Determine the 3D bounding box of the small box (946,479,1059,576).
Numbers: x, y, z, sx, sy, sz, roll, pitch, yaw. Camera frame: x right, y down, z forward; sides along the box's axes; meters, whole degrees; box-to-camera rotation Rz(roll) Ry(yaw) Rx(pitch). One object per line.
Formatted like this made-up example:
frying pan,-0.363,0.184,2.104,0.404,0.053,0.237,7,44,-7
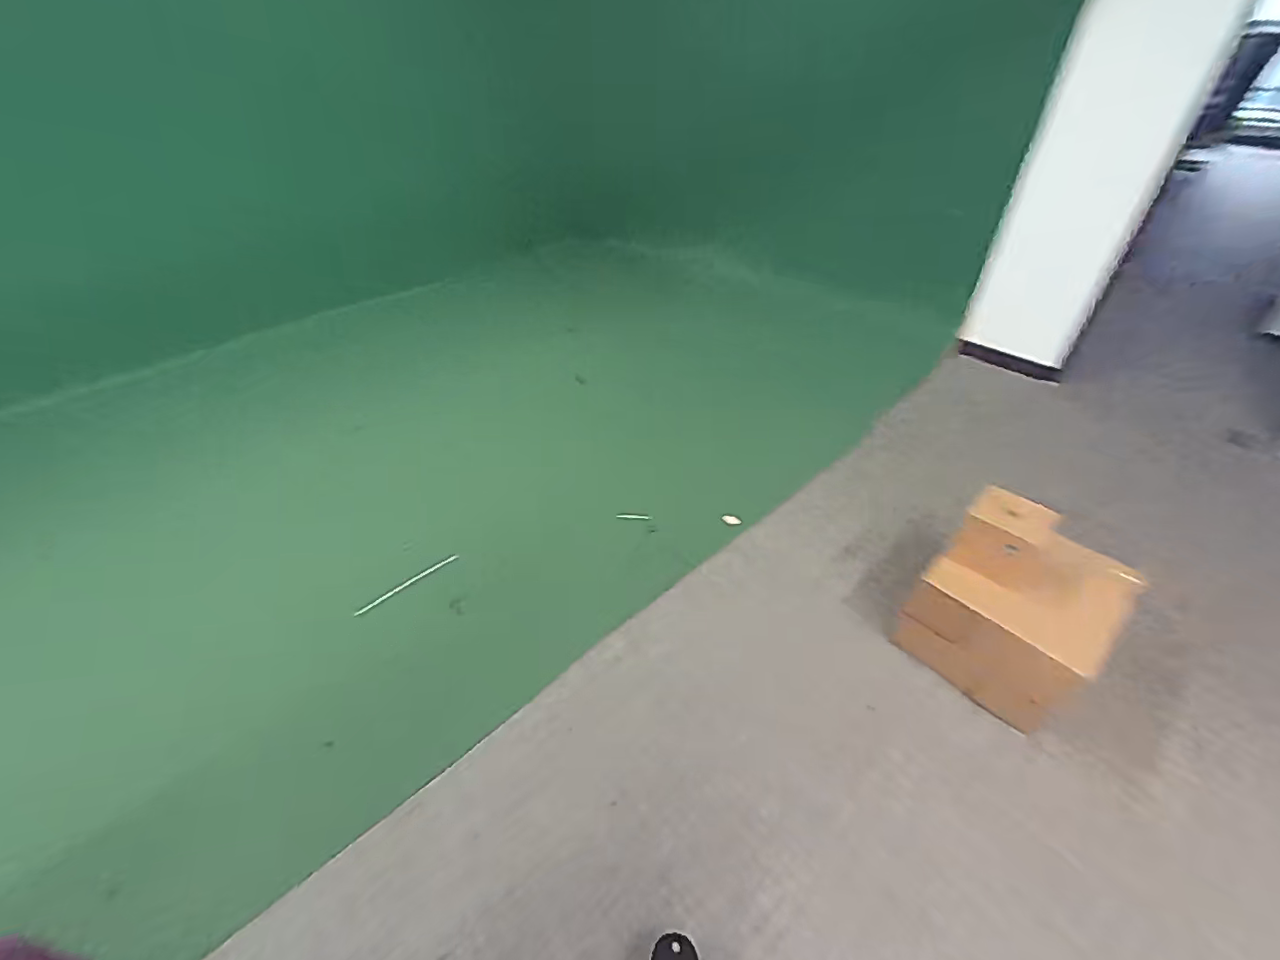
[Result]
small box,0.970,0.133,1.457,0.168,0.176,0.179,-32,49,-31
